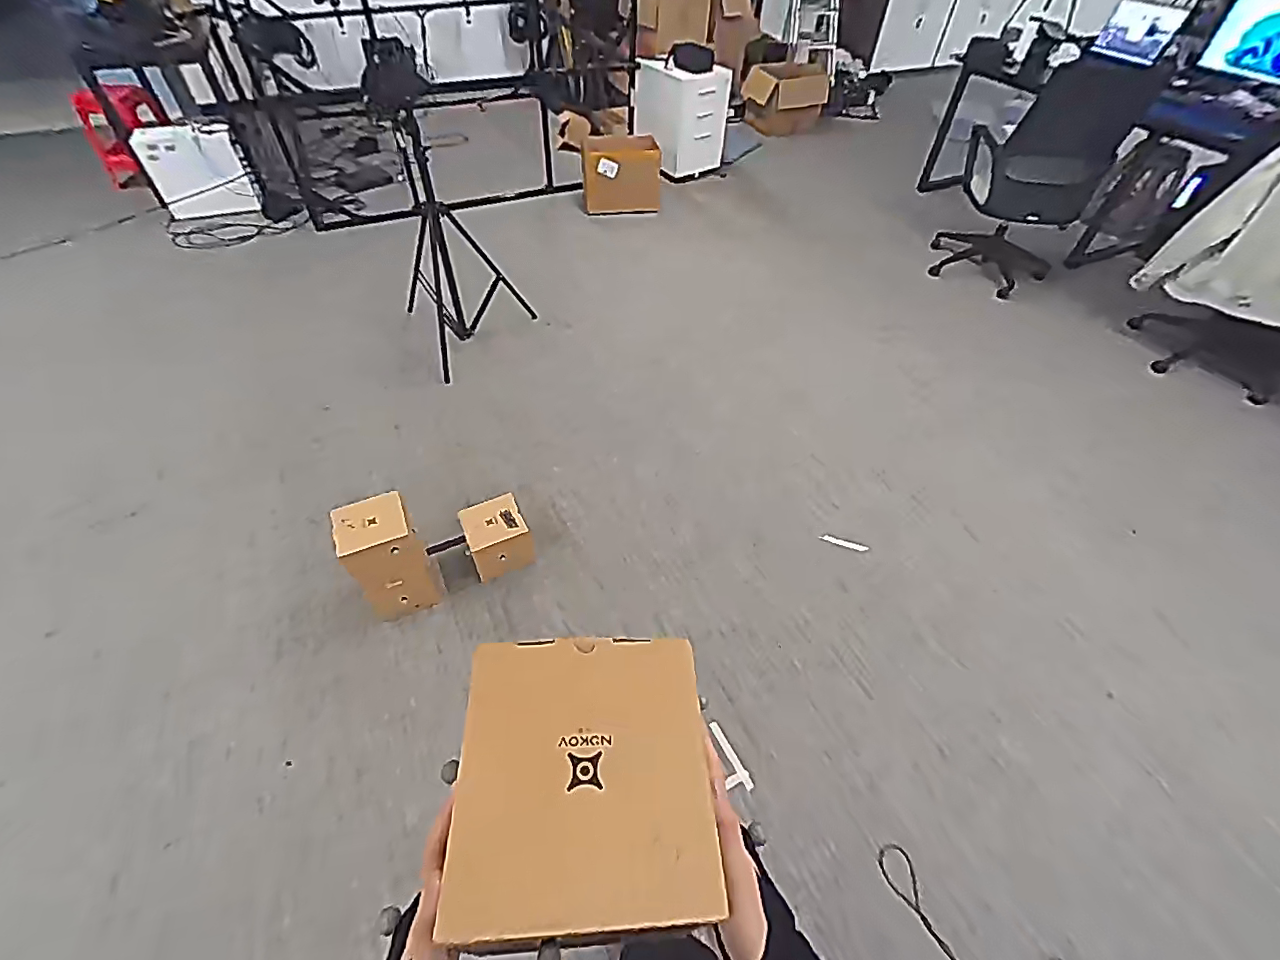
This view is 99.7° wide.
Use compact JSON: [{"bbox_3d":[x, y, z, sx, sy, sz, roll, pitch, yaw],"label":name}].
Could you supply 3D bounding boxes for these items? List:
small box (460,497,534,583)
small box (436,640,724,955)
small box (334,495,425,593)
[{"bbox_3d":[-0.436,0.187,1.674,0.179,0.176,0.168,-20,53,-17],"label":"small box"},{"bbox_3d":[-0.043,0.244,0.415,0.168,0.176,0.179,0,46,-7],"label":"small box"},{"bbox_3d":[-0.696,0.173,1.459,0.179,0.176,0.168,-19,51,-18],"label":"small box"}]
